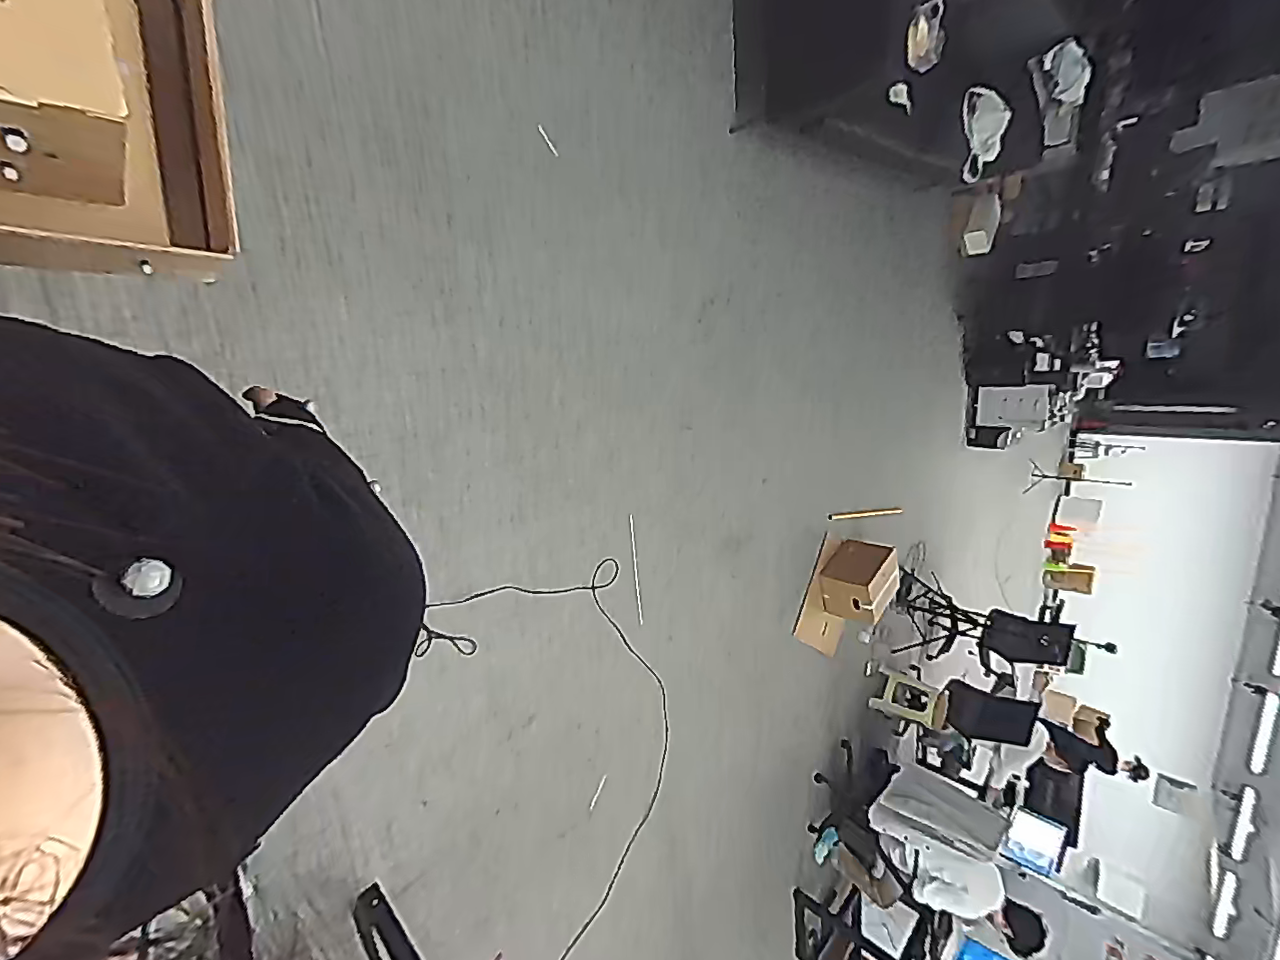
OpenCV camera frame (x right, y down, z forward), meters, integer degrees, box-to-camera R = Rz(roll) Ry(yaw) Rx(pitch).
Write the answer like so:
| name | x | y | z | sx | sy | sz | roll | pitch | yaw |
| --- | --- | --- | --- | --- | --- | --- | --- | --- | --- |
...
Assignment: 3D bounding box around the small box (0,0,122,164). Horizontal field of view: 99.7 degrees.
| name | x | y | z | sx | sy | sz | roll | pitch | yaw |
| --- | --- | --- | --- | --- | --- | --- | --- | --- | --- |
| small box | -0.600 | -0.415 | 0.493 | 0.168 | 0.176 | 0.179 | -14 | 108 | -43 |
